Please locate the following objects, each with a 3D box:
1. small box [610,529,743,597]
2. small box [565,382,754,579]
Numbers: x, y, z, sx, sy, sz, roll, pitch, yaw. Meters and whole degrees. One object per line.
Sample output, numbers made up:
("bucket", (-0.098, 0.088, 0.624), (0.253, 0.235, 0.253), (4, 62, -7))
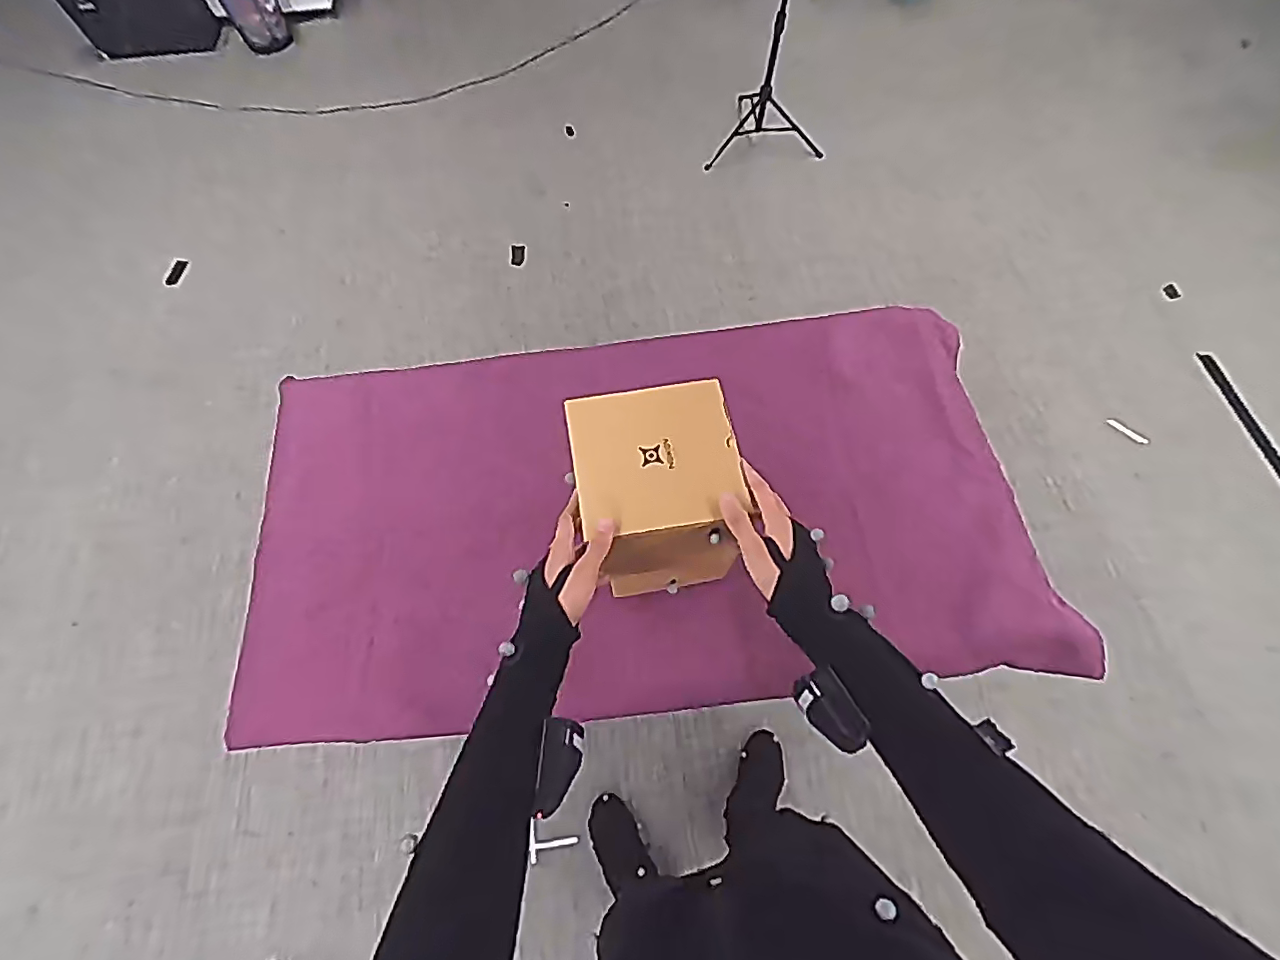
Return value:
("small box", (0.033, 0.063, 0.789), (0.179, 0.176, 0.168), (-10, 65, -5))
("small box", (0.017, 0.009, 0.634), (0.179, 0.176, 0.168), (-9, 67, -5))
